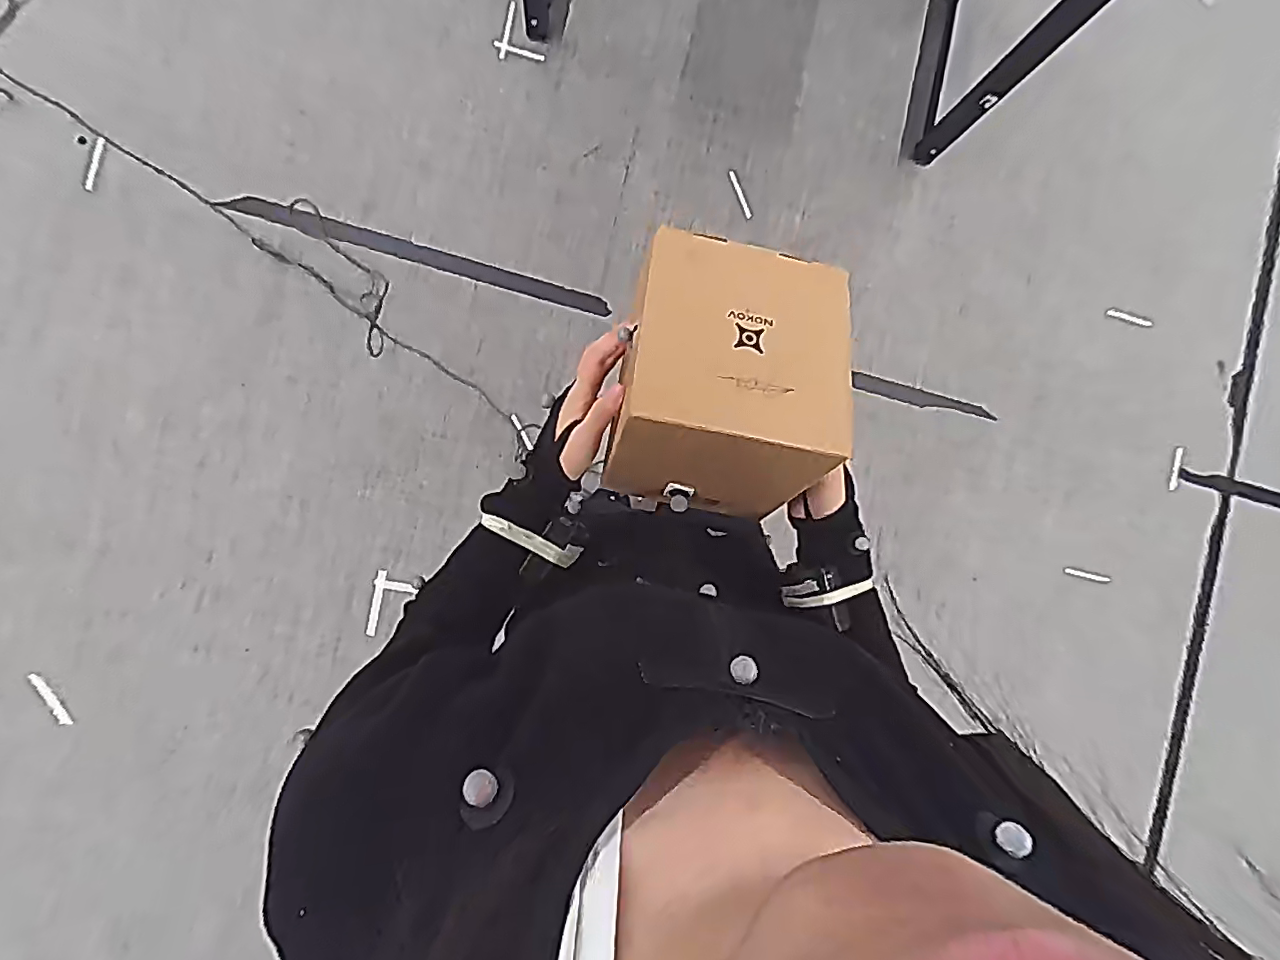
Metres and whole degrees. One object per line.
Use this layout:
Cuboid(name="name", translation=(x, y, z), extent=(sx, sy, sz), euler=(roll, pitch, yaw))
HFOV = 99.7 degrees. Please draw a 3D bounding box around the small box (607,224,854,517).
Cuboid(name="small box", translation=(0.068, -0.082, 0.480), extent=(0.168, 0.176, 0.179), euler=(10, 69, -7))
